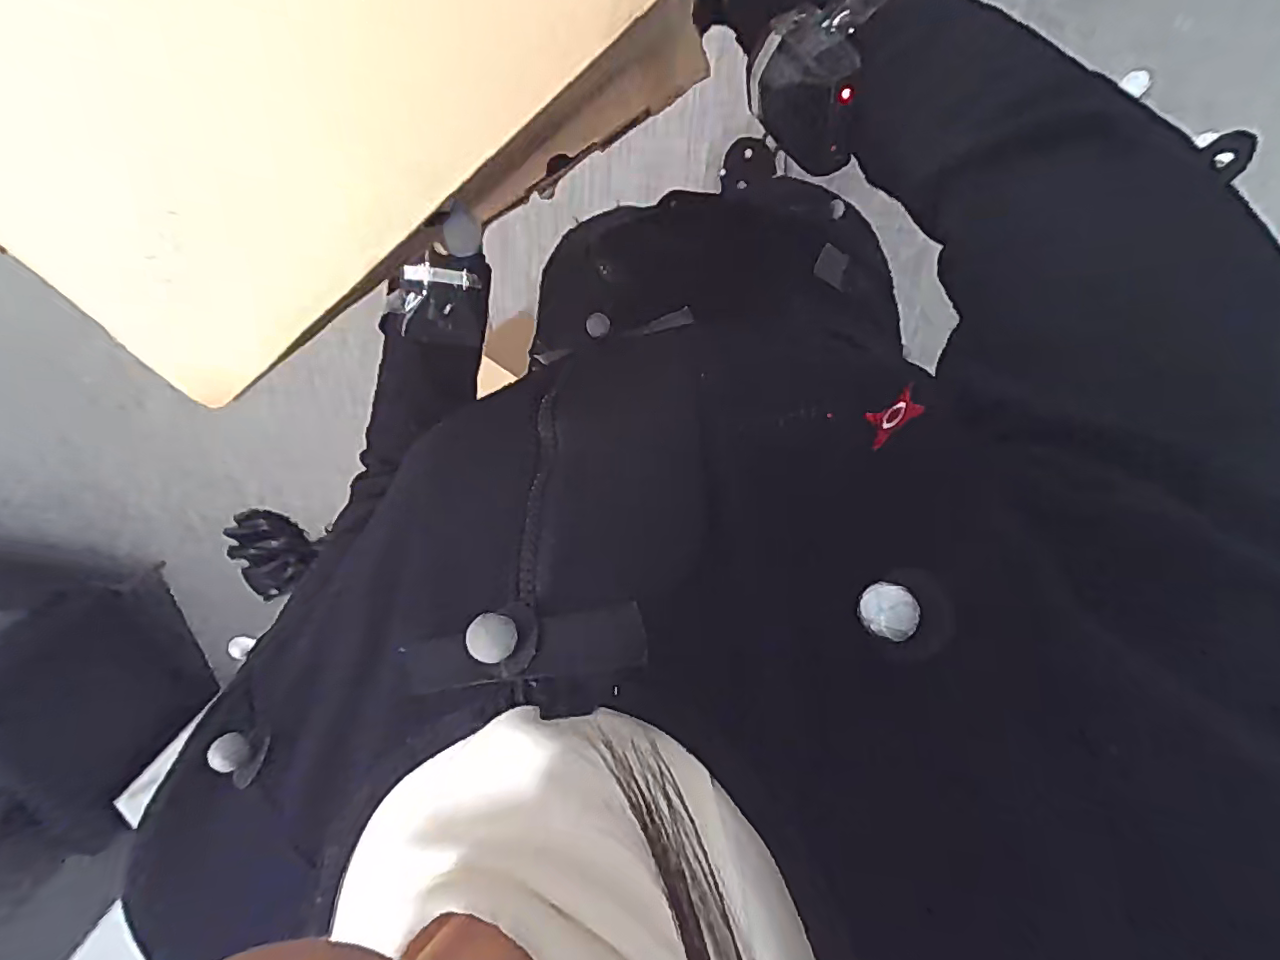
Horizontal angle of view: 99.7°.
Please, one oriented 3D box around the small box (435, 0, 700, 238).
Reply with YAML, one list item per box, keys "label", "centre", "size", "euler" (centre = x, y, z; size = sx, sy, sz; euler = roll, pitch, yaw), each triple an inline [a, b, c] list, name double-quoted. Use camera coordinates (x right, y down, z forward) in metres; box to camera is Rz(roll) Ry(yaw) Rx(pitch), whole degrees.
- label: "small box"
  centre: [-0.078, -0.272, 0.288]
  size: [0.168, 0.176, 0.179]
  euler: [-24, 123, 23]
